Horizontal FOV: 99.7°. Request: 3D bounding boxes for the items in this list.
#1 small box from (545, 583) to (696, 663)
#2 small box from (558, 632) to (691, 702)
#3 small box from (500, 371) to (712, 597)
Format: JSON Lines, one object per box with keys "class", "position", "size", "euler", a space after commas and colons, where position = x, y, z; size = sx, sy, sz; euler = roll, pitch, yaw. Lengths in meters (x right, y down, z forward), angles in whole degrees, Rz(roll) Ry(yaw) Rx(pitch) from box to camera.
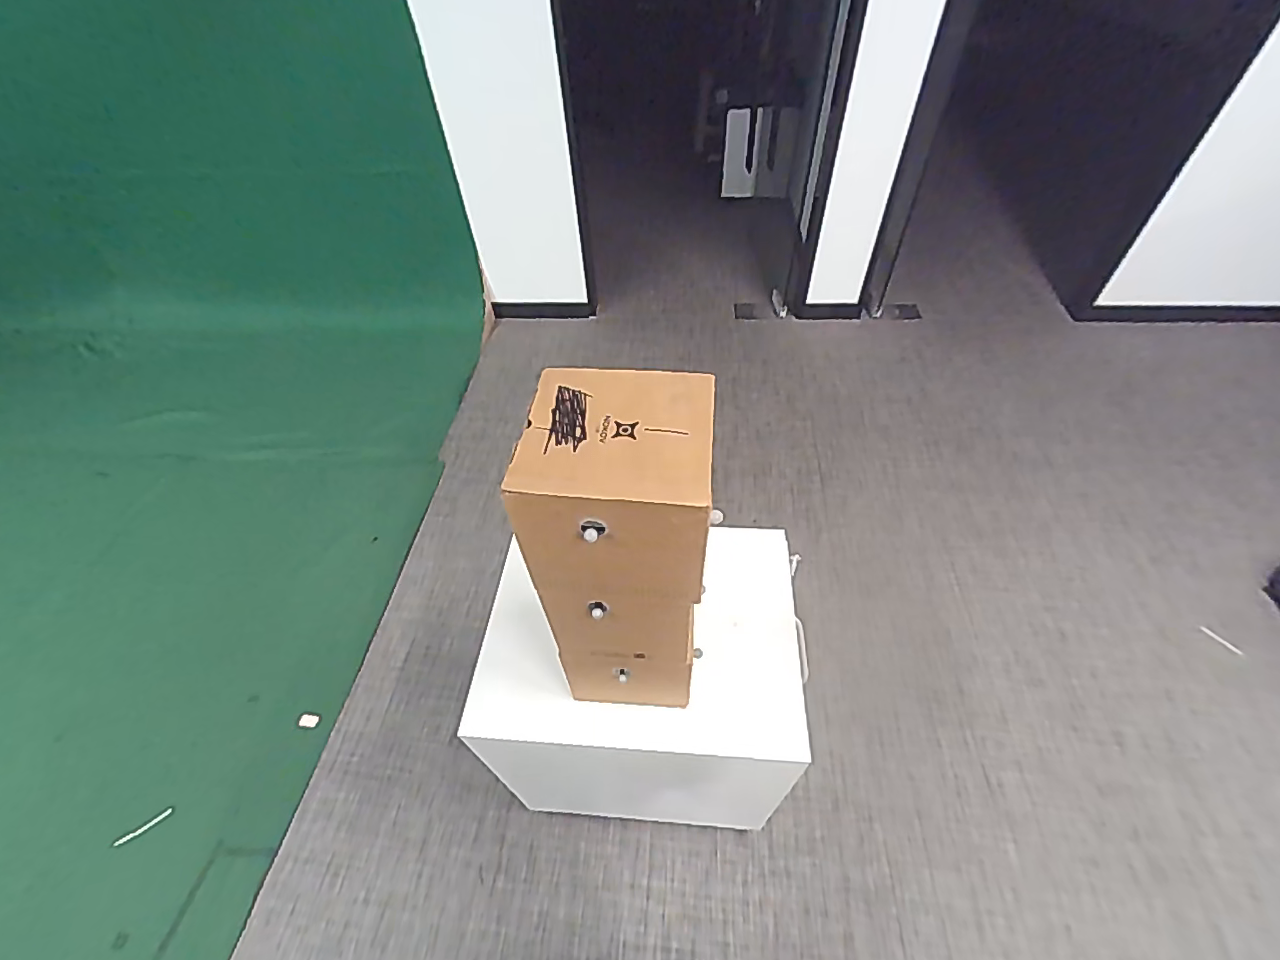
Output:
{"class": "small box", "position": [-0.016, 0.112, 0.689], "size": [0.168, 0.176, 0.179], "euler": [2, 50, 3]}
{"class": "small box", "position": [-0.012, 0.220, 0.808], "size": [0.179, 0.176, 0.168], "euler": [3, 50, 4]}
{"class": "small box", "position": [-0.020, 0.007, 0.559], "size": [0.179, 0.176, 0.168], "euler": [4, 50, 6]}
